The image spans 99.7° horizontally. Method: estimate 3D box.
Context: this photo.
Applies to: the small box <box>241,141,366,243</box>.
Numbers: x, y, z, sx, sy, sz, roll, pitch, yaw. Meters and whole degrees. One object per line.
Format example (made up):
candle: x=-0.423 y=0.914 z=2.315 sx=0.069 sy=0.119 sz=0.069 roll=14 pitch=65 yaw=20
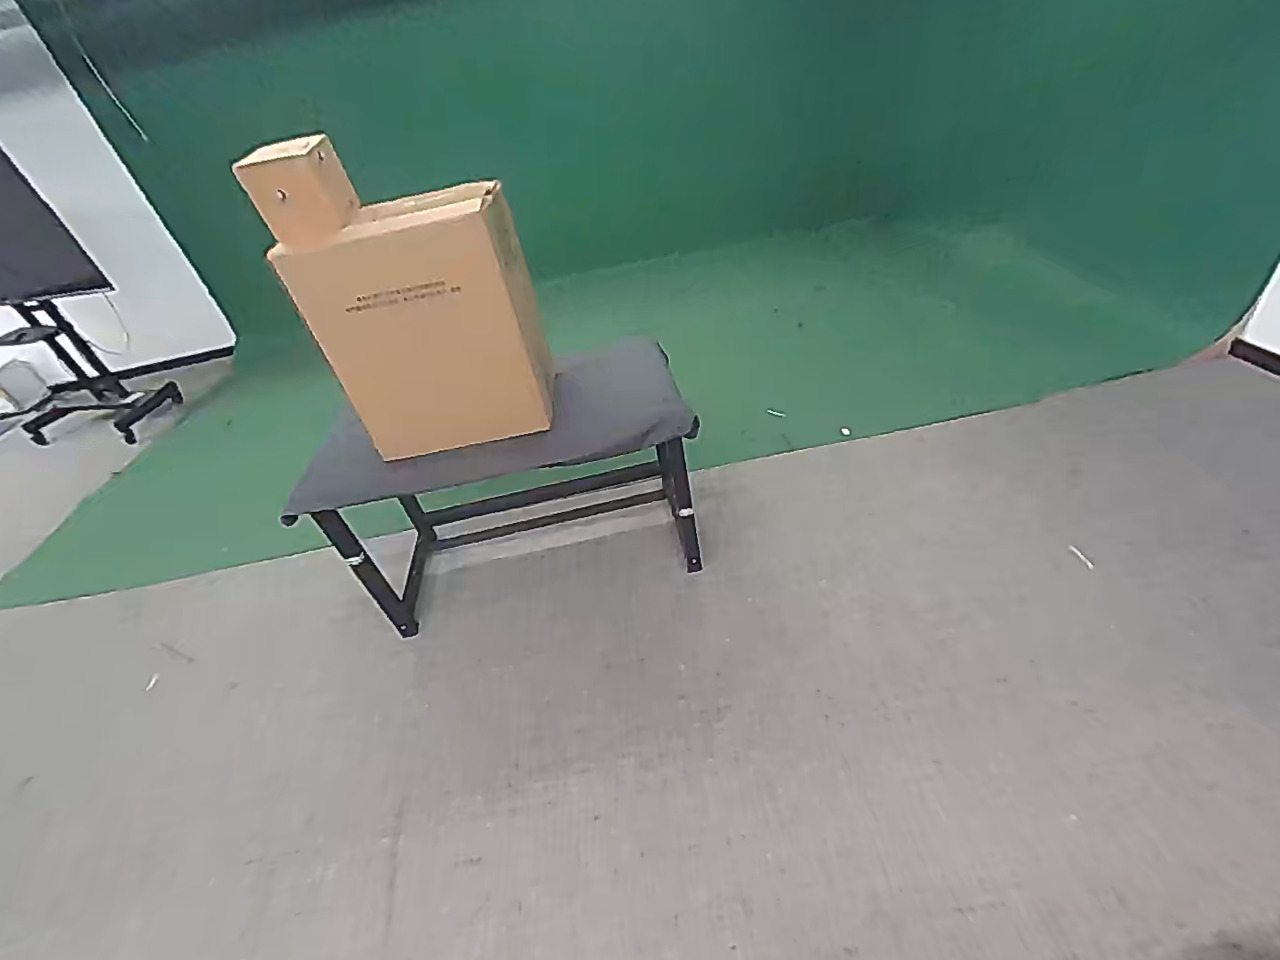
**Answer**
small box: x=-0.821 y=-0.708 z=1.338 sx=0.179 sy=0.176 sz=0.168 roll=-11 pitch=46 yaw=3
